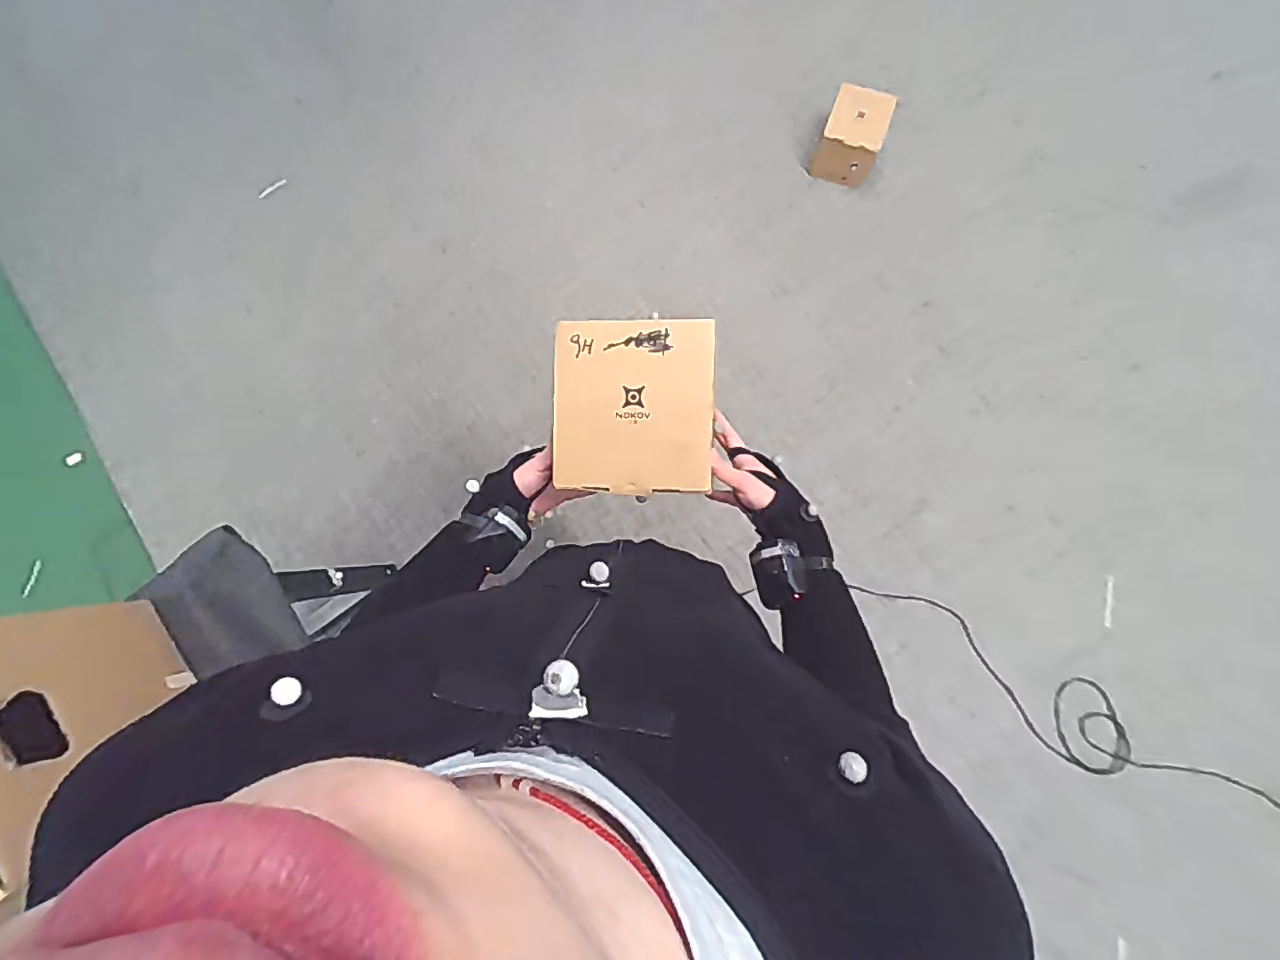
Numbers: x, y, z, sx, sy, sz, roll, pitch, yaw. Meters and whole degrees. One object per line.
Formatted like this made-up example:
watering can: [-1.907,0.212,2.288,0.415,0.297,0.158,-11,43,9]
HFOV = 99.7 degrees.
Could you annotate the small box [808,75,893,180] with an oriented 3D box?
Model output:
small box: [0.611,-1.031,1.596,0.168,0.176,0.179,19,83,3]
